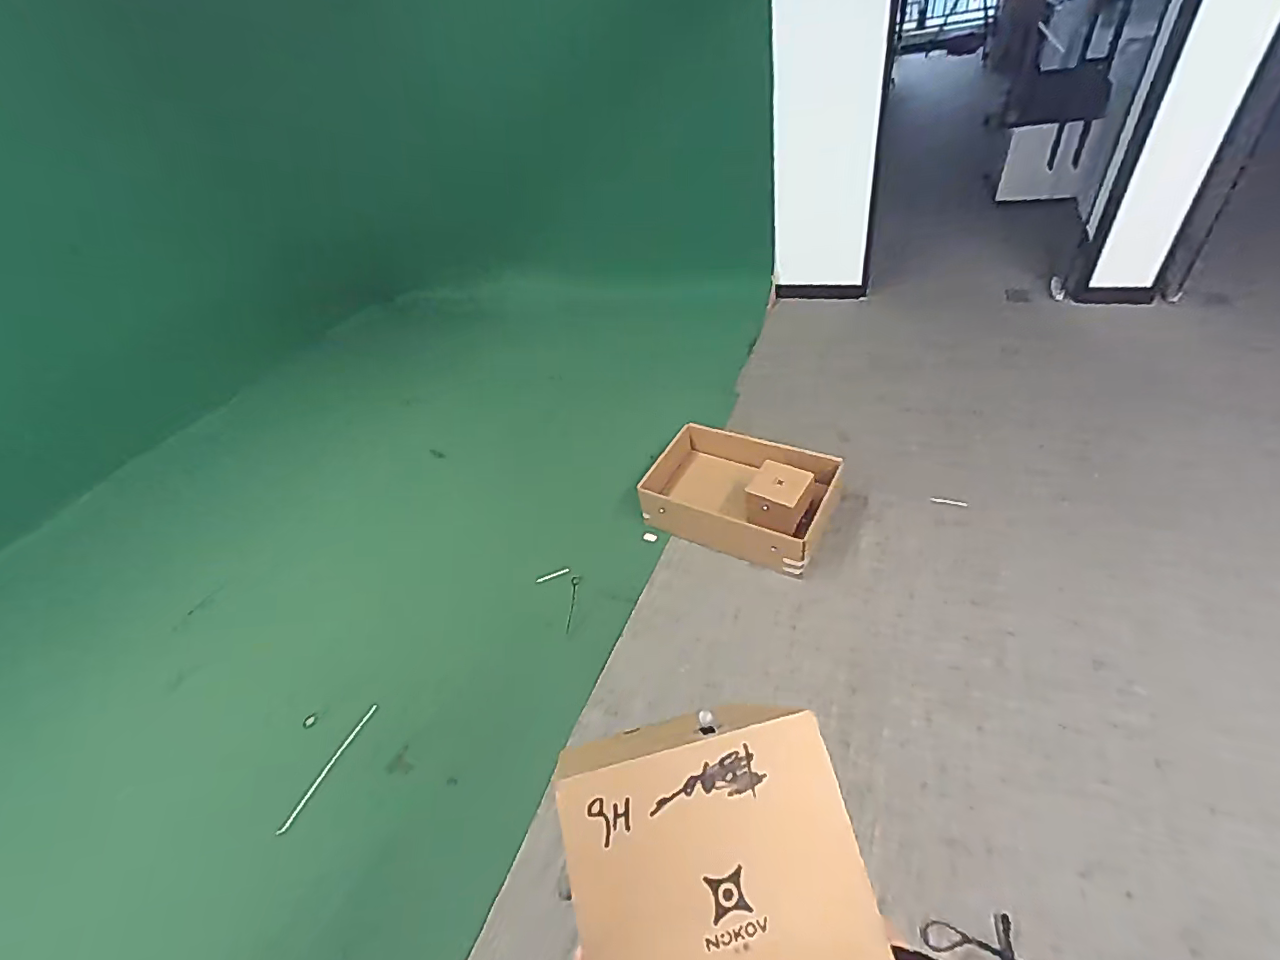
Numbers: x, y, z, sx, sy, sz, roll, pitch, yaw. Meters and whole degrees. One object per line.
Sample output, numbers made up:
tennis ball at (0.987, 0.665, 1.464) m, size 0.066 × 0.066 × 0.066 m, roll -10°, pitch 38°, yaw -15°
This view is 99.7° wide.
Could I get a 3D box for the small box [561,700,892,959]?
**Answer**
small box at (0.043, 0.264, 0.375) m, size 0.168 × 0.176 × 0.179 m, roll -10°, pitch 72°, yaw -11°
